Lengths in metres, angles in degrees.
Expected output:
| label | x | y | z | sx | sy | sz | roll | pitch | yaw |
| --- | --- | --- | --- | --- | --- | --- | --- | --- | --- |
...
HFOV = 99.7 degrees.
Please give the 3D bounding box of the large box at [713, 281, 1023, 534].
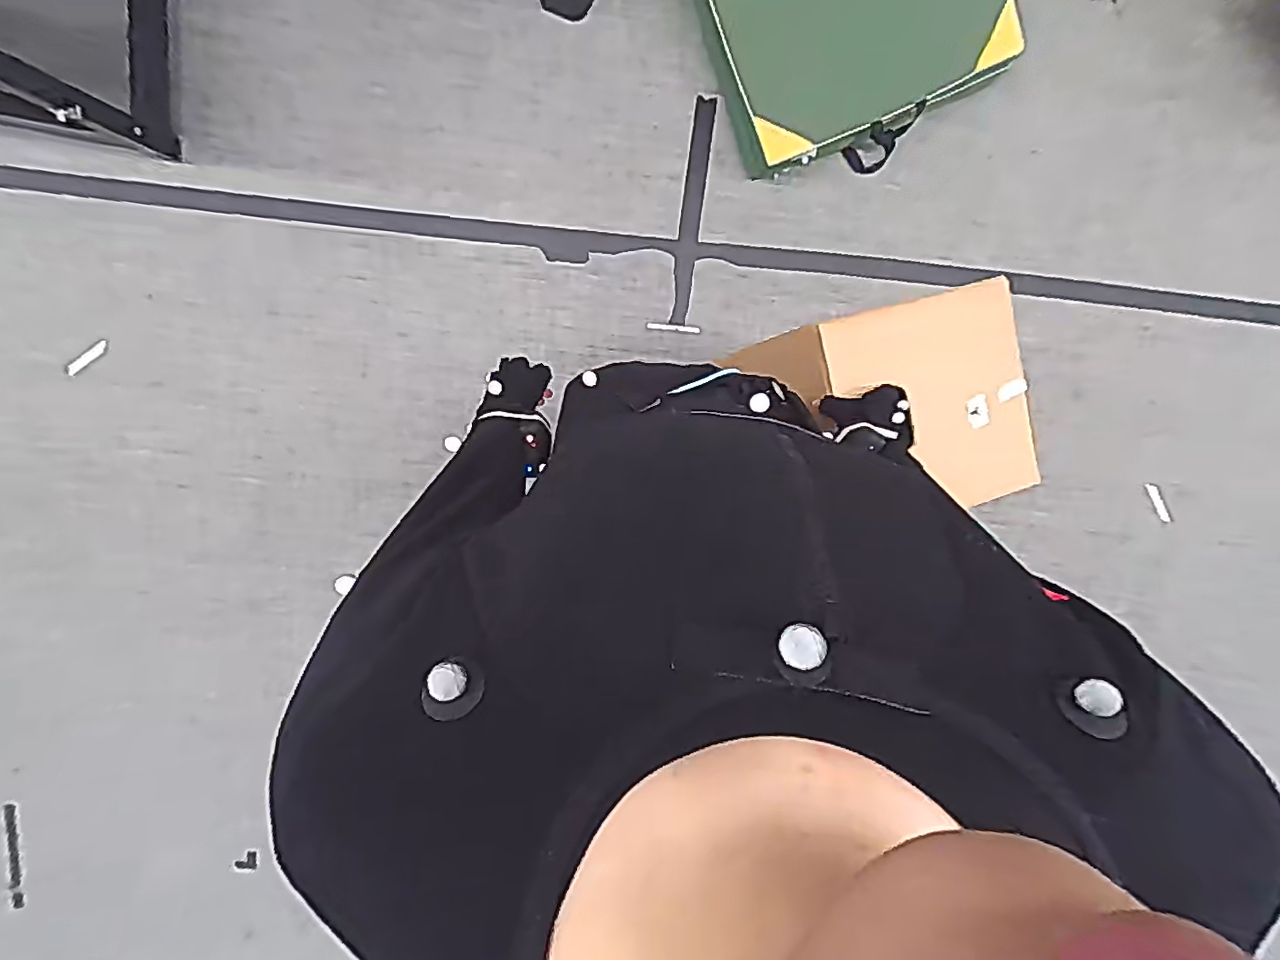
| label | x | y | z | sx | sy | sz | roll | pitch | yaw |
| --- | --- | --- | --- | --- | --- | --- | --- | --- | --- |
| large box | 0.370 | -0.121 | 0.970 | 0.320 | 0.408 | 0.320 | -15 | 98 | -10 |
